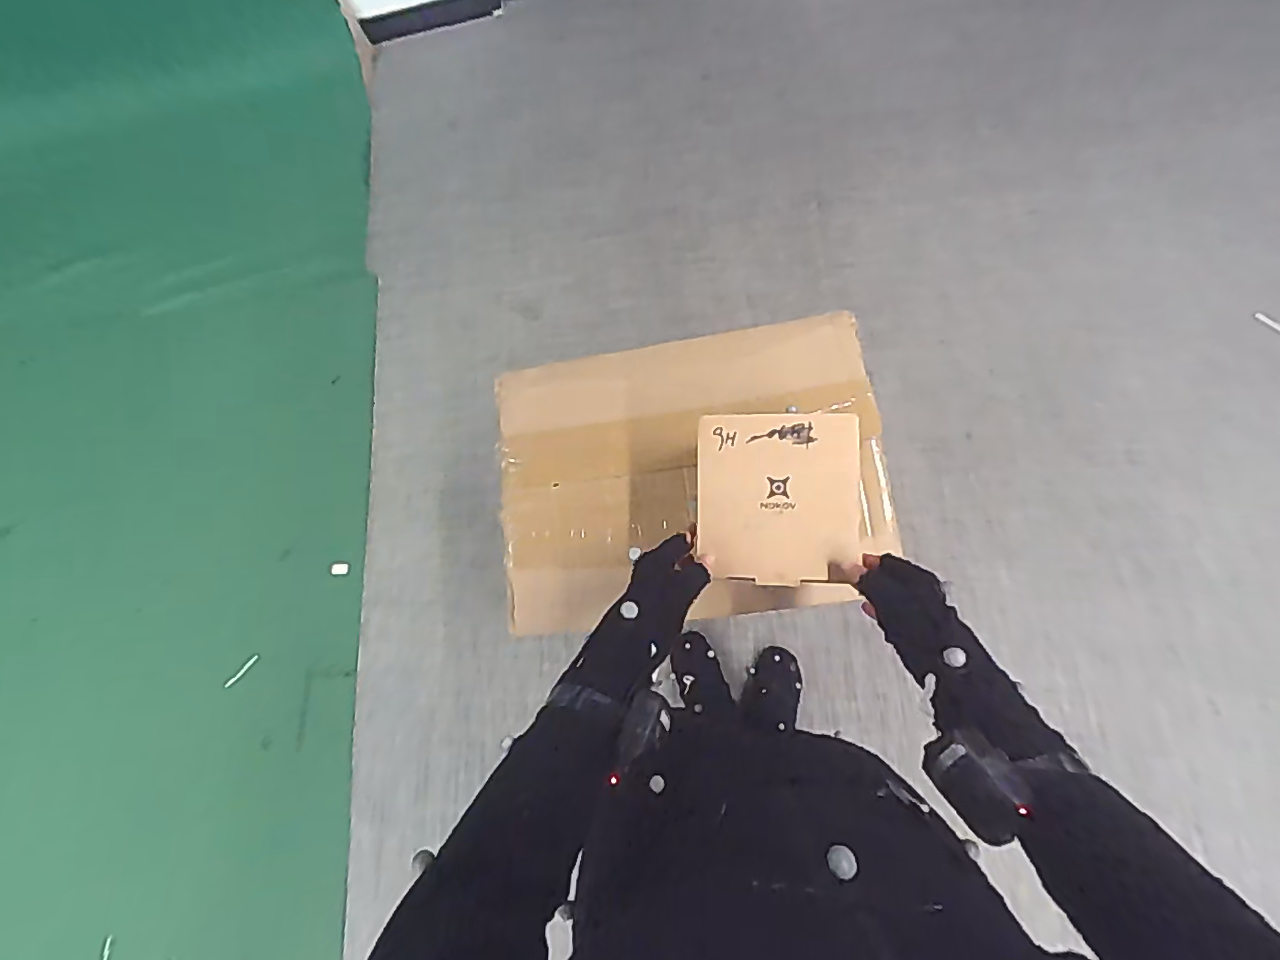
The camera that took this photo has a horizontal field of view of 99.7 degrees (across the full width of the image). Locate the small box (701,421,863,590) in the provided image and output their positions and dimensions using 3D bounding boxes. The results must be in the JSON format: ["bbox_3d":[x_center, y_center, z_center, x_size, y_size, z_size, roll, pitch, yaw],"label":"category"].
[{"bbox_3d":[0.159,0.032,0.642,0.168,0.176,0.179,0,84,8],"label":"small box"}]
